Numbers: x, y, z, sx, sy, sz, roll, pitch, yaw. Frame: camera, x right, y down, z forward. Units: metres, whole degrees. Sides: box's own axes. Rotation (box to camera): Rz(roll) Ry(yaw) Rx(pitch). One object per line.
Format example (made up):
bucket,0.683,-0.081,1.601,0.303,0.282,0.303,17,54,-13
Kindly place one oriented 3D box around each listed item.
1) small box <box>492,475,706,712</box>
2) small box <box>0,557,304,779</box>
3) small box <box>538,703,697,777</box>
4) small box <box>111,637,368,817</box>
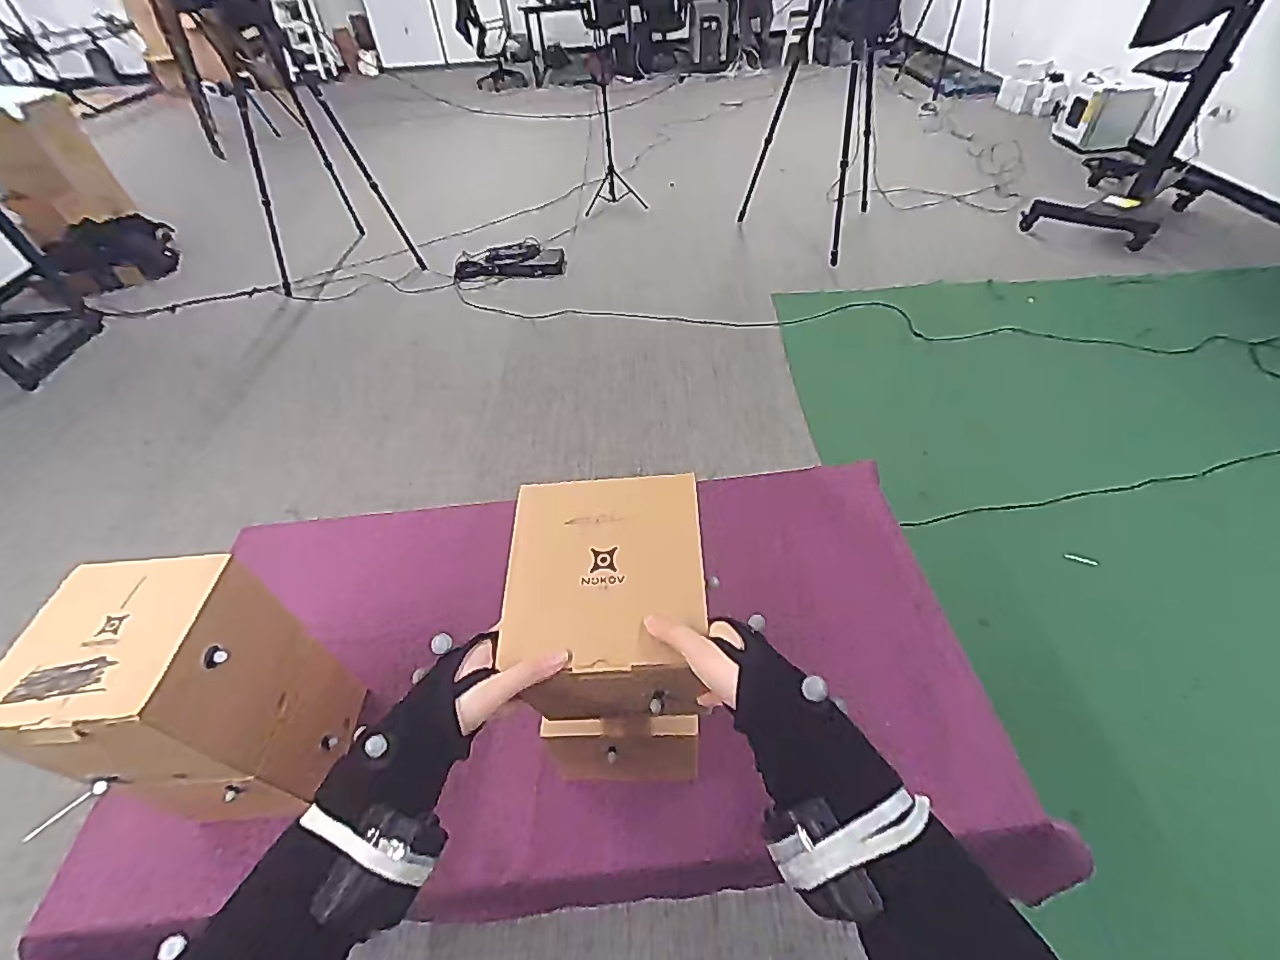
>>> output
small box,-0.025,0.118,0.522,0.168,0.176,0.179,-4,54,5
small box,-0.507,0.208,0.586,0.168,0.176,0.179,-5,45,0
small box,-0.018,0.273,0.699,0.179,0.176,0.168,-2,47,4
small box,-0.493,0.323,0.702,0.179,0.176,0.168,-5,47,1
